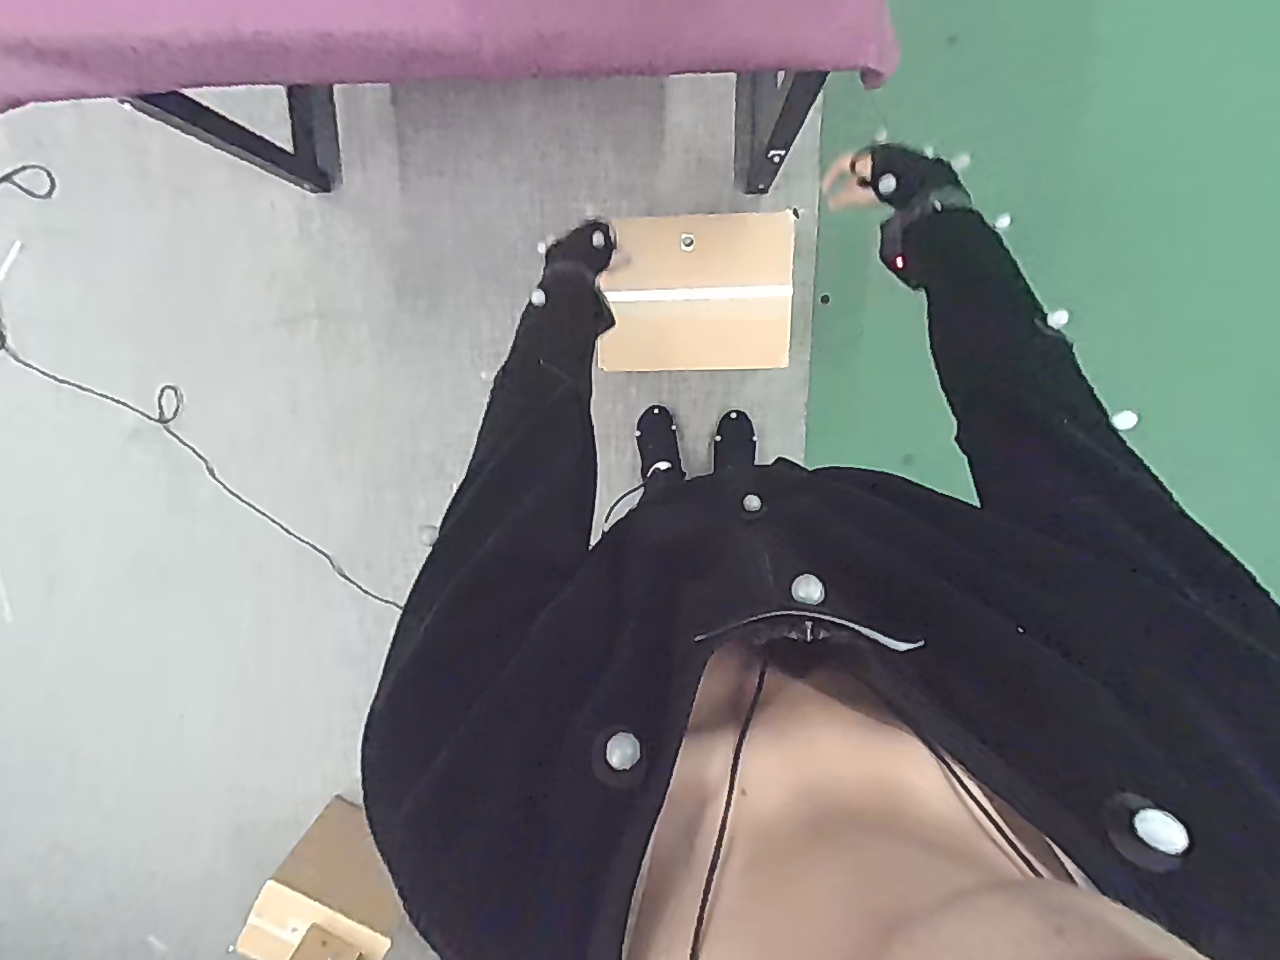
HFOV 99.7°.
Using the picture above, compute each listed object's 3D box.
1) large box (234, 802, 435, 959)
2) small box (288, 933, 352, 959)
[{"bbox_3d":[-0.937,1.322,1.702,0.408,0.320,0.320,29,102,0],"label":"large box"},{"bbox_3d":[-0.923,1.403,1.469,0.168,0.176,0.179,34,103,-3],"label":"small box"}]
